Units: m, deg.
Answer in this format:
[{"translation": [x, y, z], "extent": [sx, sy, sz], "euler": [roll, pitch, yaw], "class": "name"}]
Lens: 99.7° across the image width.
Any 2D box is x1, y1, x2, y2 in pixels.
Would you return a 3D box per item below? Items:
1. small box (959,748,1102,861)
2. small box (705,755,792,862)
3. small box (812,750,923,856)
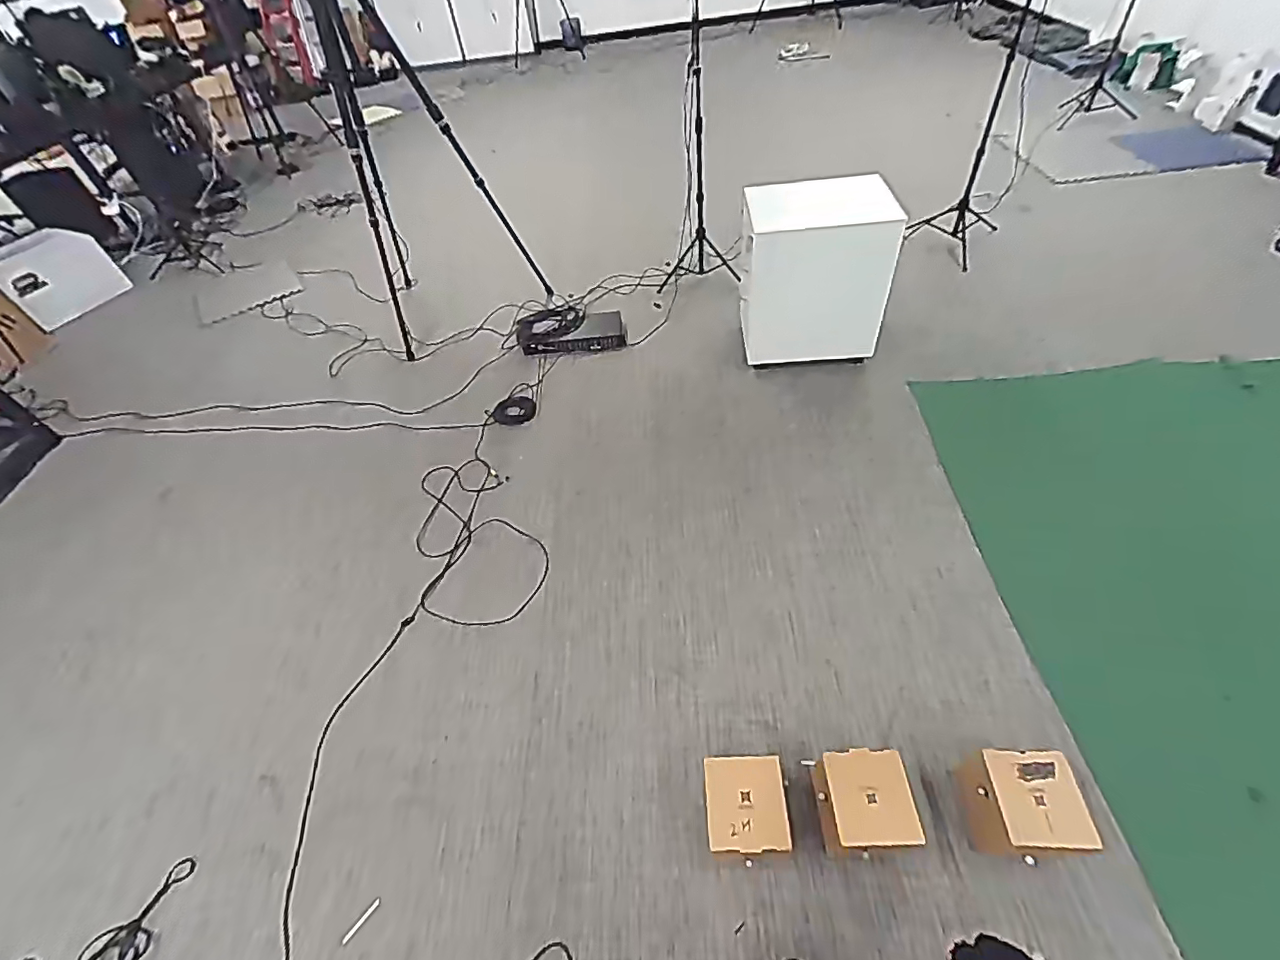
[{"translation": [0.809, 0.689, 1.146], "extent": [0.168, 0.176, 0.179], "euler": [-2, 50, 7], "class": "small box"}, {"translation": [0.230, 0.724, 1.190], "extent": [0.168, 0.176, 0.179], "euler": [-4, 49, 5], "class": "small box"}, {"translation": [0.484, 0.706, 1.176], "extent": [0.168, 0.176, 0.179], "euler": [-4, 48, 4], "class": "small box"}]
